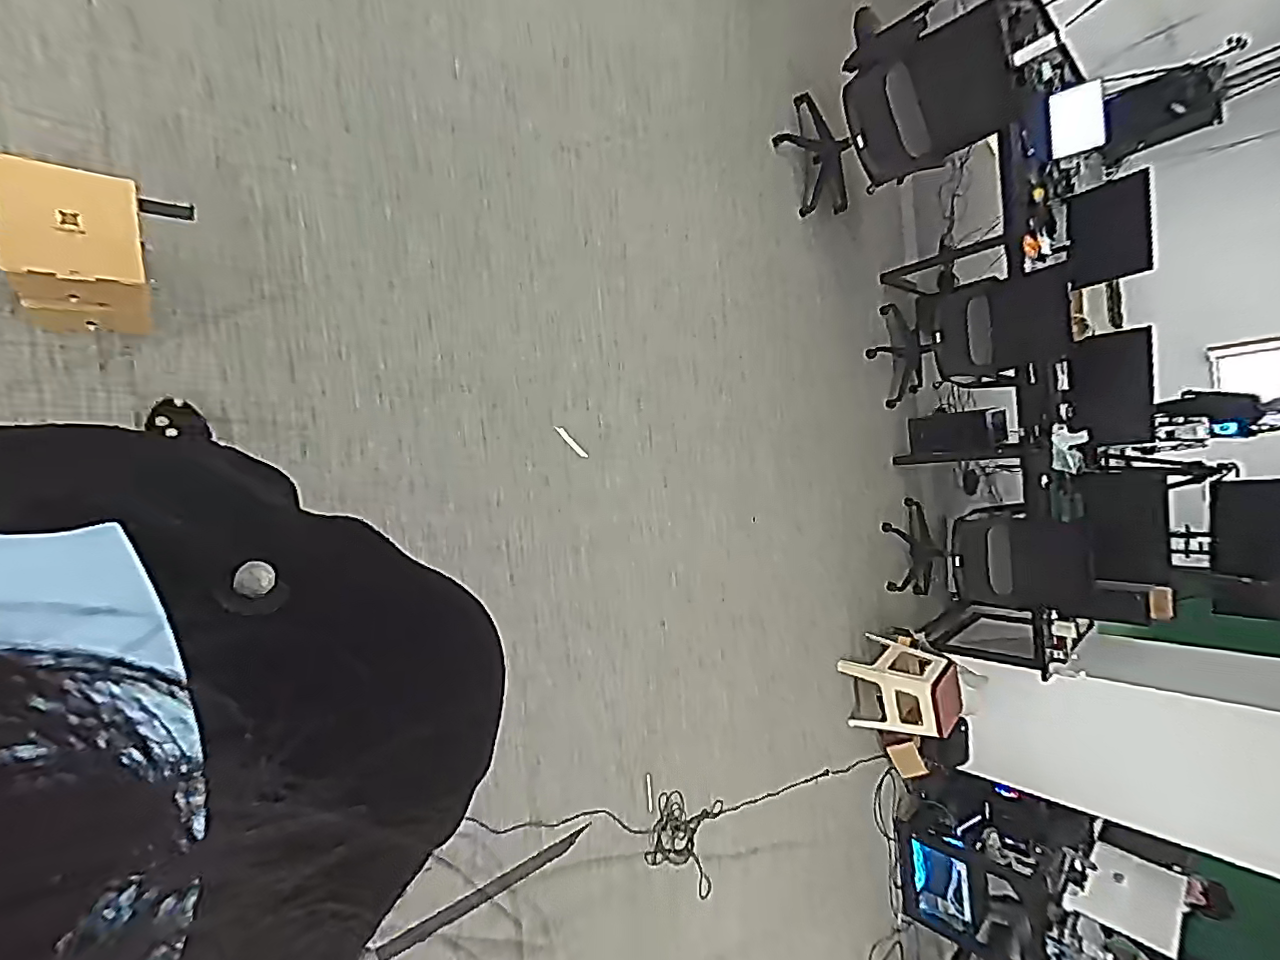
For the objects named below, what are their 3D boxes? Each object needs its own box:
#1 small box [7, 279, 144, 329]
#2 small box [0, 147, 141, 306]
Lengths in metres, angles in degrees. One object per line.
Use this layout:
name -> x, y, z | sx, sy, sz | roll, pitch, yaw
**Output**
small box -> -1.059, -0.393, 1.018 | 0.168, 0.176, 0.179 | -9, 94, -42
small box -> -0.950, -0.408, 0.898 | 0.168, 0.176, 0.179 | -6, 93, -41
